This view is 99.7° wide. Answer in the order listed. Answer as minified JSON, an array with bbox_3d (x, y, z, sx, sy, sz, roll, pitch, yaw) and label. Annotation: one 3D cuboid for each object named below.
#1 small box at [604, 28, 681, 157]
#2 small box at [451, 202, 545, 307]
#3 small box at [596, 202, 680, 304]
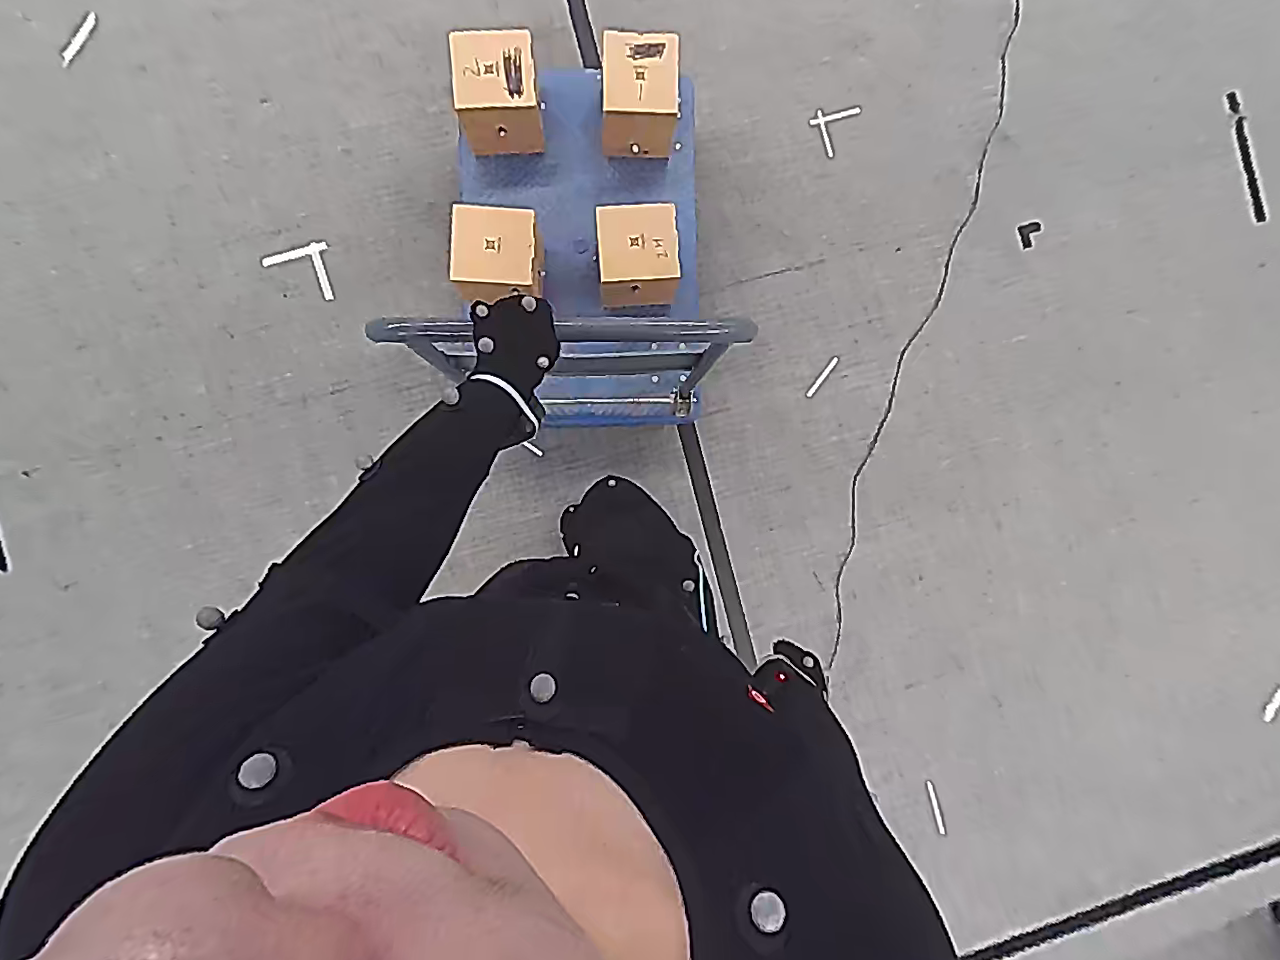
[{"bbox_3d":[0.000,-0.885,1.247,0.168,0.176,0.179,0,91,-3],"label":"small box"},{"bbox_3d":[-0.315,-0.502,1.227,0.179,0.176,0.168,2,89,-5],"label":"small box"},{"bbox_3d":[-0.006,-0.514,1.244,0.179,0.176,0.168,-4,90,-3],"label":"small box"}]
